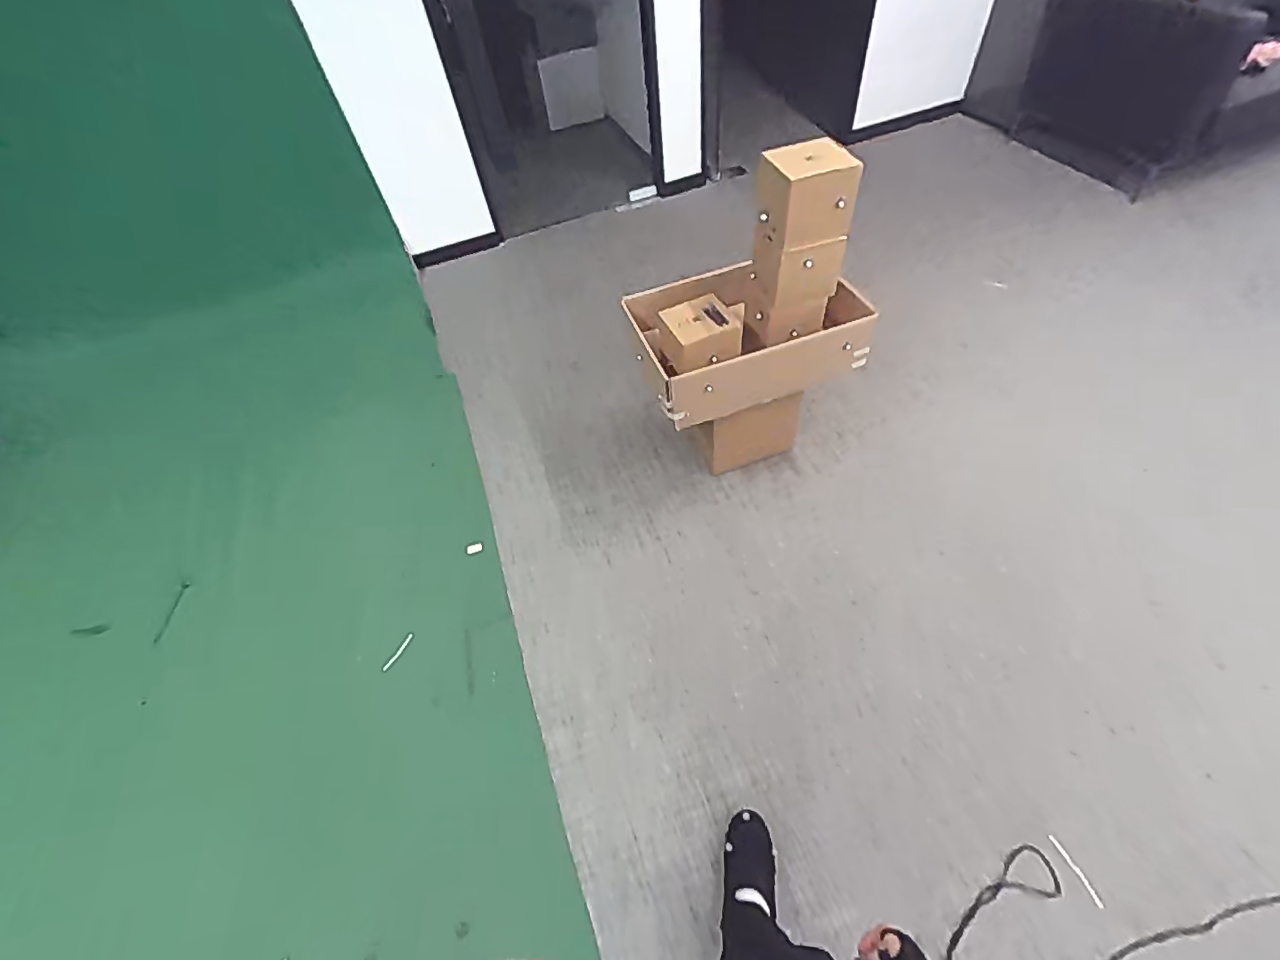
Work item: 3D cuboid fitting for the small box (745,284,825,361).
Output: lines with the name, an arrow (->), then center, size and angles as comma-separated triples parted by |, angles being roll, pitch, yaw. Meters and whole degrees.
small box -> 0.412, -0.463, 1.562 | 0.168, 0.176, 0.179 | -15, 52, -5

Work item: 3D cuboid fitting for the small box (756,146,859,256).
small box -> 0.397, -0.674, 1.312 | 0.179, 0.176, 0.168 | -16, 52, -5

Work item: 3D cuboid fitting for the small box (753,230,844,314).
small box -> 0.410, -0.565, 1.434 | 0.179, 0.176, 0.168 | -16, 52, -6
